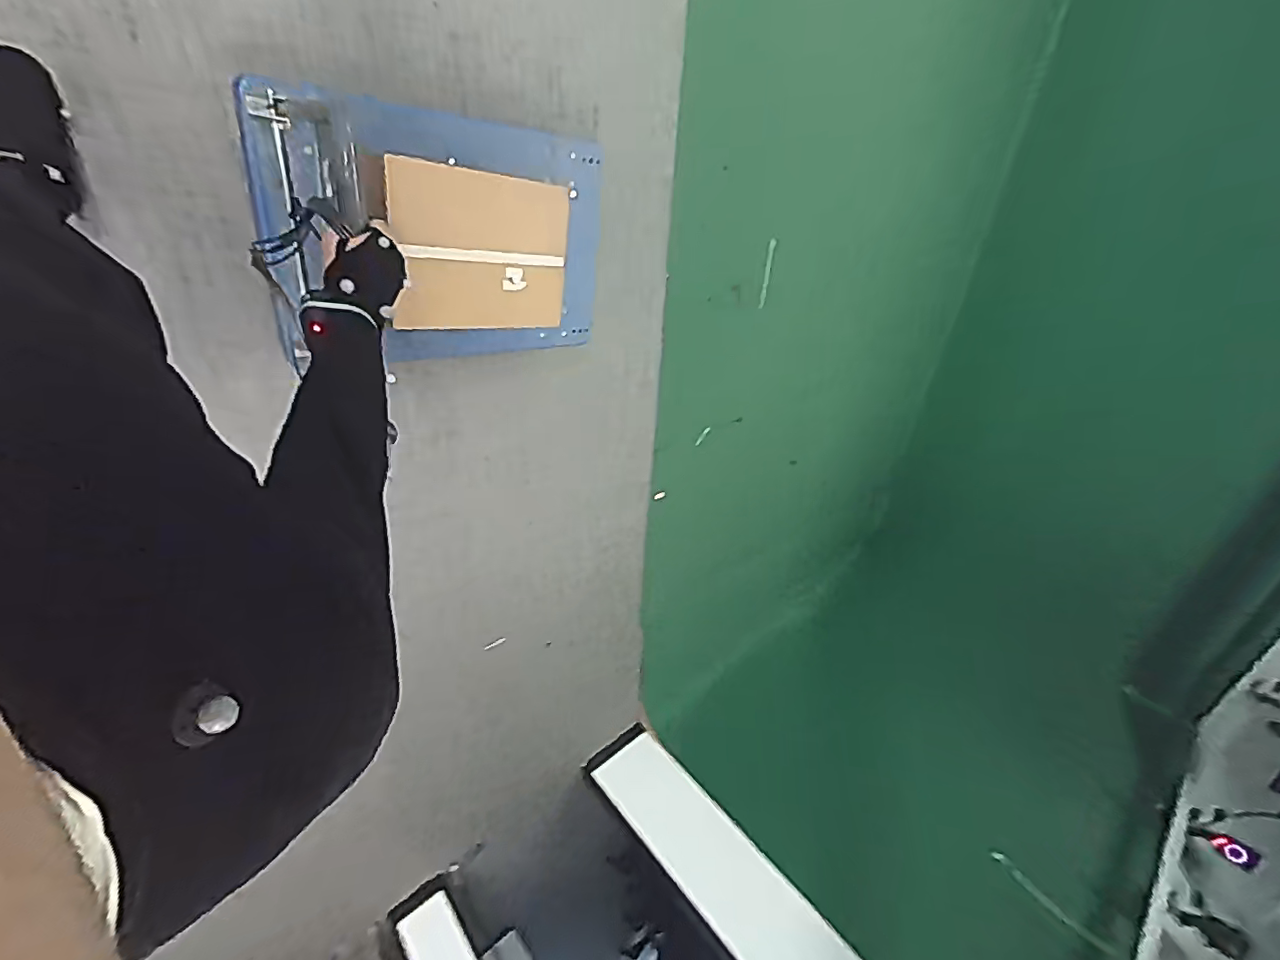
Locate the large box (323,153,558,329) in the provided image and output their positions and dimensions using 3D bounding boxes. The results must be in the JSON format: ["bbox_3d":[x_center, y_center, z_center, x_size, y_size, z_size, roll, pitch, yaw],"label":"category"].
[{"bbox_3d":[-0.447,-0.543,1.240,0.408,0.320,0.320,-15,126,-40],"label":"large box"}]
